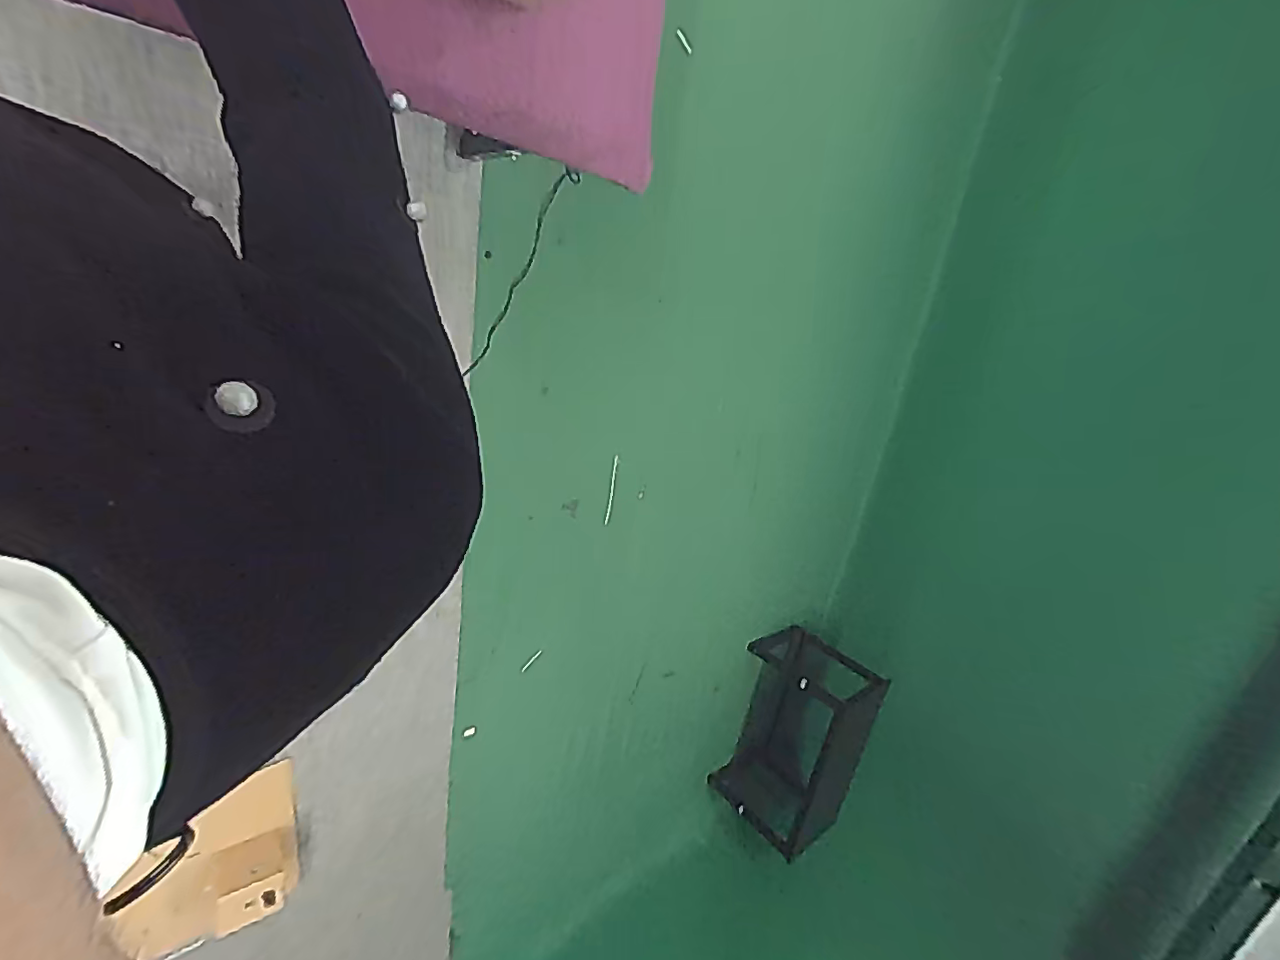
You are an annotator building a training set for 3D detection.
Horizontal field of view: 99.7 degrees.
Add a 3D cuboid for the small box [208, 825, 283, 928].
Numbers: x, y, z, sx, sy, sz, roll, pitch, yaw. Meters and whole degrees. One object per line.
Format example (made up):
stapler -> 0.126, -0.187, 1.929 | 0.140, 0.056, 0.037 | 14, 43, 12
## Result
small box -> -1.272, 1.262, 1.738 | 0.179, 0.176, 0.168 | -1, 111, -42
